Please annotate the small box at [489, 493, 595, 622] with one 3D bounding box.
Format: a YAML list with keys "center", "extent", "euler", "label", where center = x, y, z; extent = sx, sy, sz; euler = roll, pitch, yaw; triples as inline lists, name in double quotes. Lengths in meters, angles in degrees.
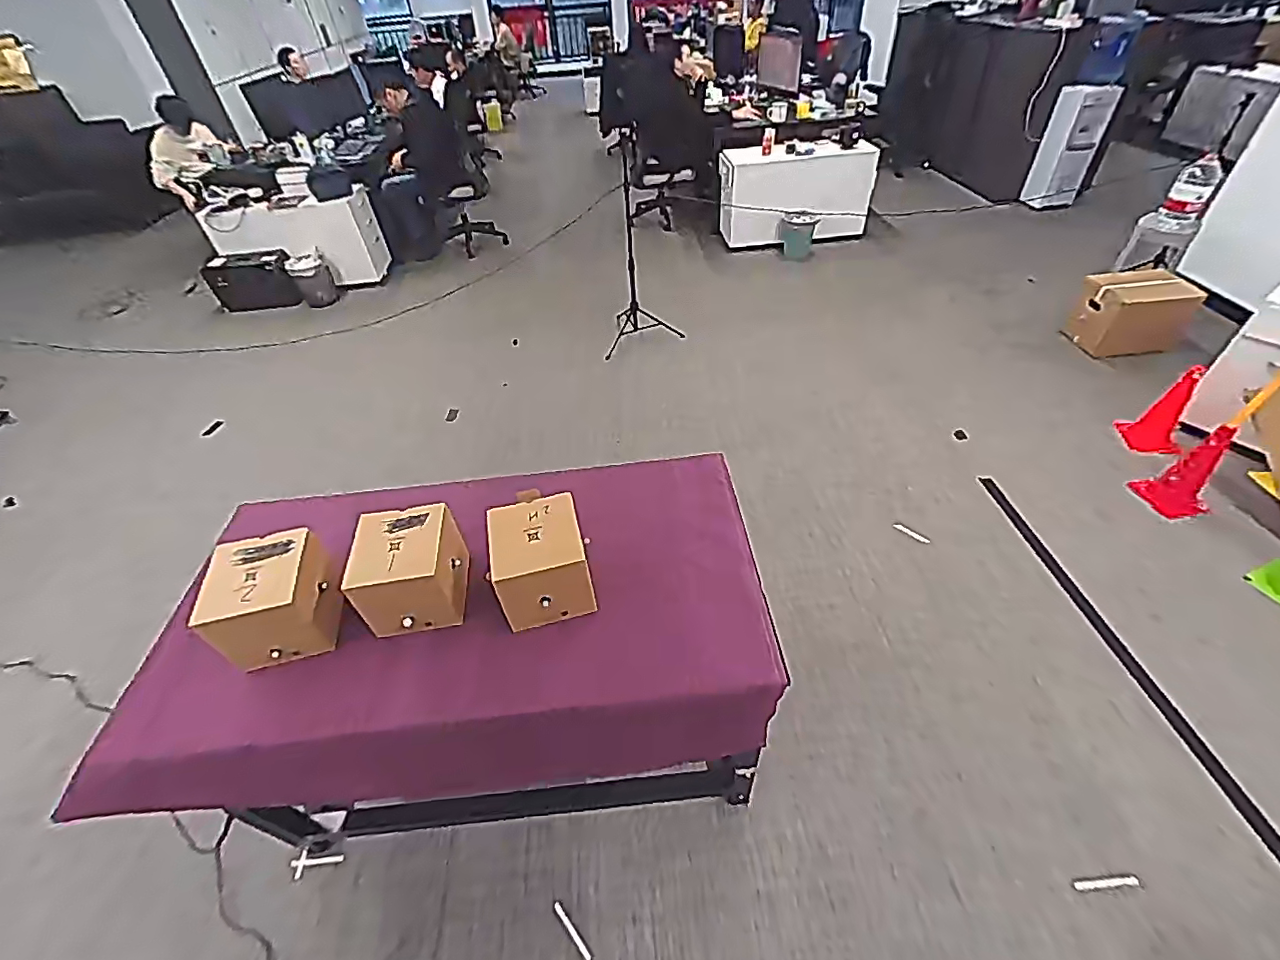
- center: [-0.188, 0.157, 1.050]
  extent: [0.168, 0.176, 0.179]
  euler: [-12, 44, -8]
  label: "small box"

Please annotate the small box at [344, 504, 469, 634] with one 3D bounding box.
- center: [-0.442, 0.174, 1.056]
  extent: [0.168, 0.176, 0.179]
  euler: [-8, 45, -3]
  label: "small box"
